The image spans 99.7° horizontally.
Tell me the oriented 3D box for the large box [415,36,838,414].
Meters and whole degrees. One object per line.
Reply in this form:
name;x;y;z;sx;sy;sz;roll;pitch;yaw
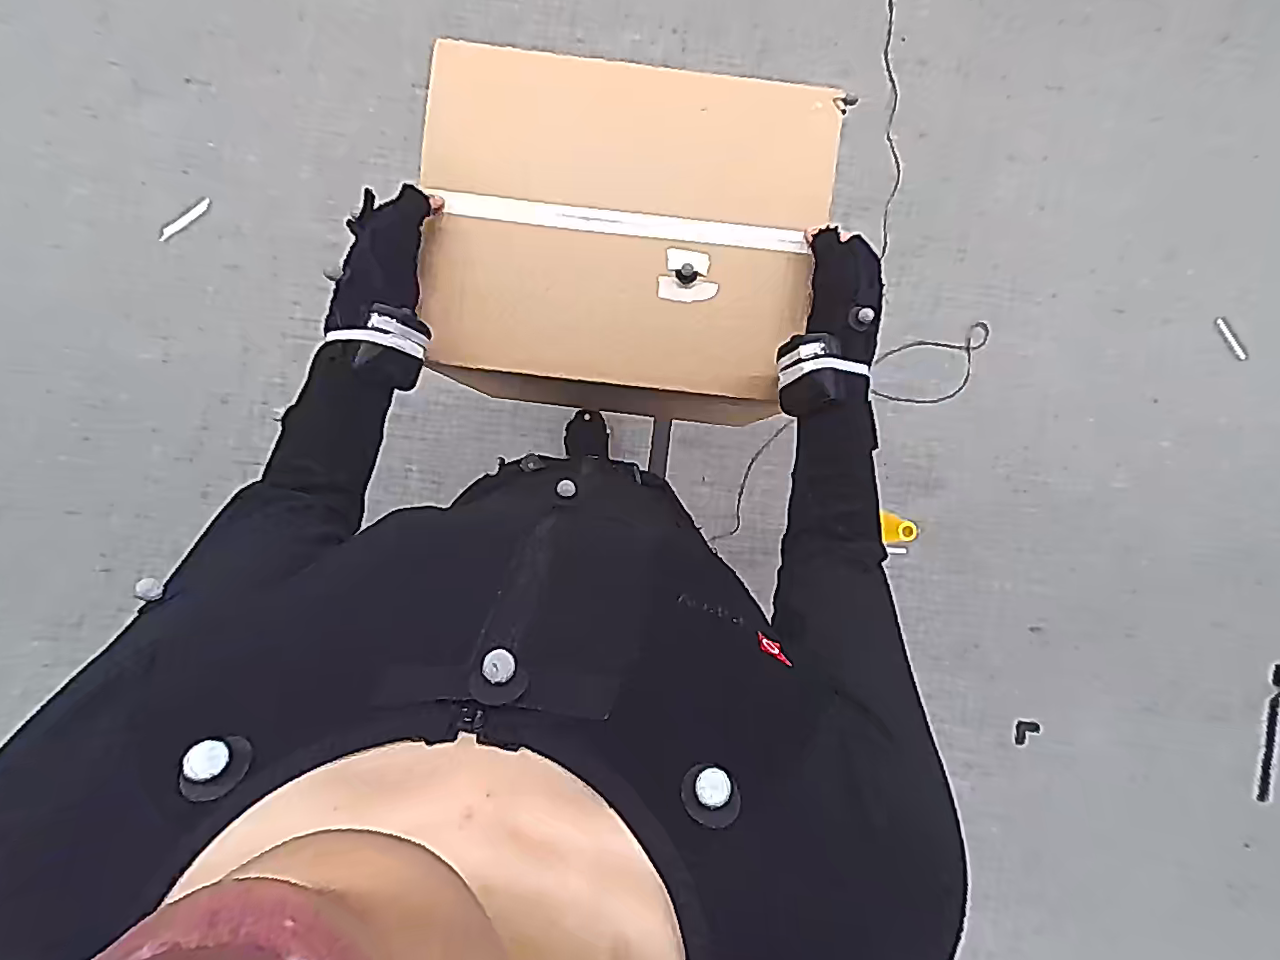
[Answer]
large box;-0.018;-0.269;0.685;0.408;0.320;0.320;6;92;-2
